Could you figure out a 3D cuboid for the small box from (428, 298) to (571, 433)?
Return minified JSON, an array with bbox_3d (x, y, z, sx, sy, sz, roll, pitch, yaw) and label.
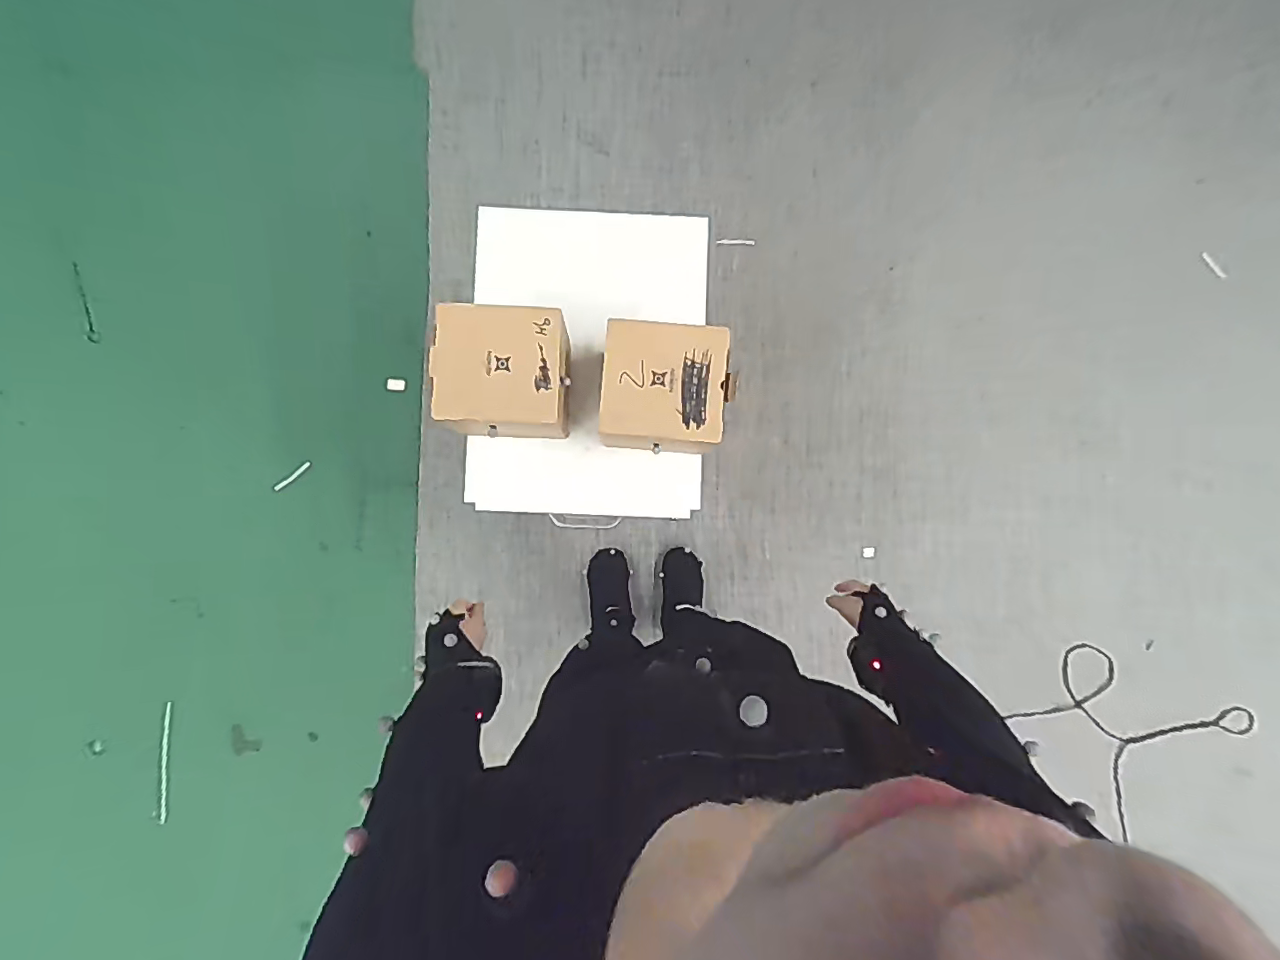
[{"bbox_3d":[-0.204,-0.164,0.825,0.179,0.176,0.168,2,88,-2],"label":"small box"}]
